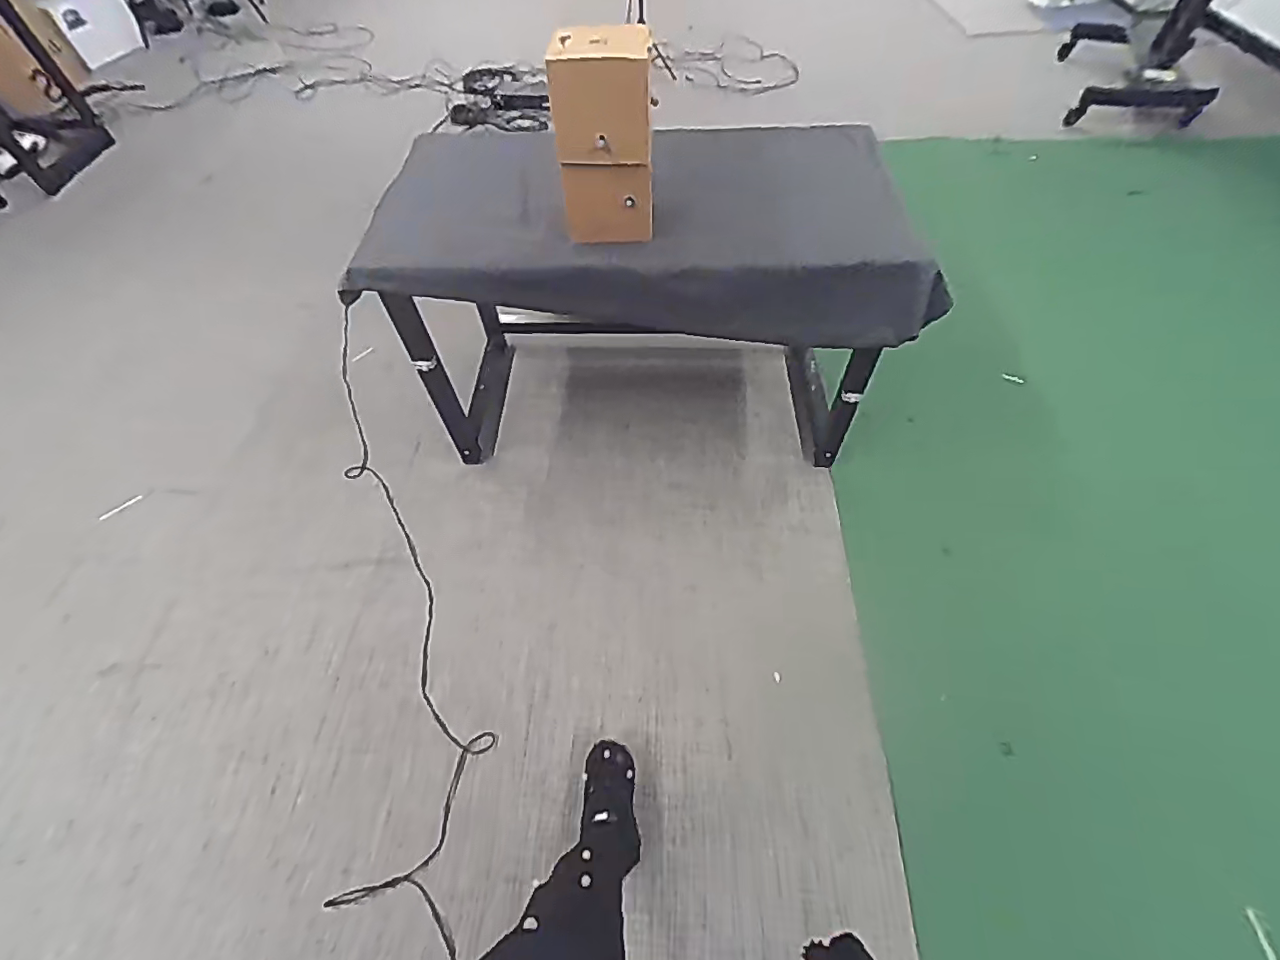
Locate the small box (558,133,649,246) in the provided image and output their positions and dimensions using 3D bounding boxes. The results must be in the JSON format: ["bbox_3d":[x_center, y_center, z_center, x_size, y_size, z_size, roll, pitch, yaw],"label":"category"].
[{"bbox_3d":[-0.069,-0.619,1.148,0.179,0.176,0.168,-2,54,2],"label":"small box"}]

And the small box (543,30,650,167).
[{"bbox_3d":[-0.073,-0.707,1.011,0.179,0.176,0.168,2,54,2],"label":"small box"}]
